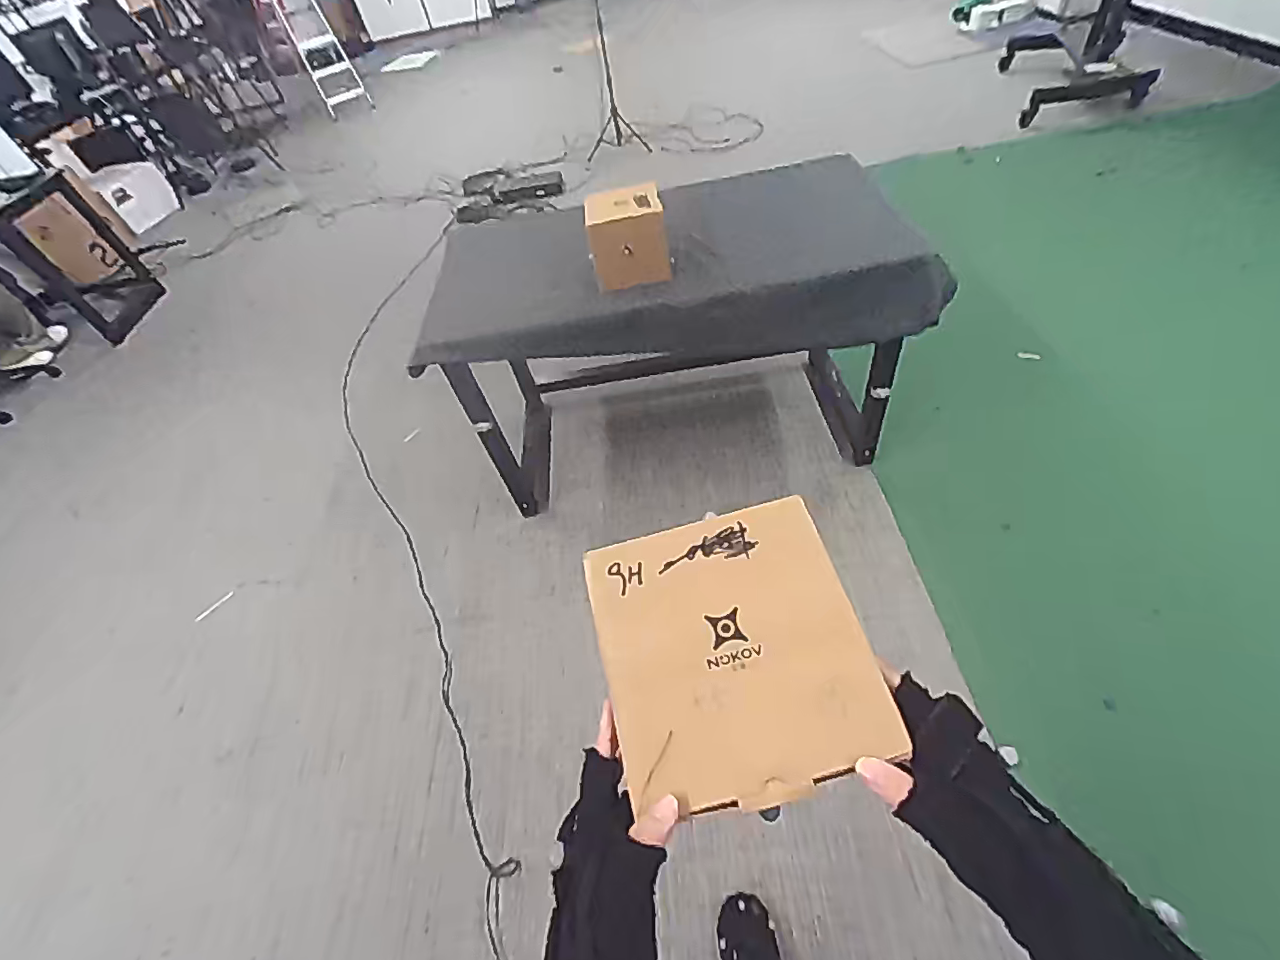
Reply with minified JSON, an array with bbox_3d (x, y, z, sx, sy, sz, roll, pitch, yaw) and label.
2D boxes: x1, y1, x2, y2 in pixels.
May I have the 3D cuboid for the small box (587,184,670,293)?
[{"bbox_3d":[-0.024,-0.574,1.295,0.179,0.176,0.168,-10,49,4],"label":"small box"}]

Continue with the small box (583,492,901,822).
[{"bbox_3d":[0.065,0.138,0.420,0.168,0.176,0.179,-15,62,-1],"label":"small box"}]
